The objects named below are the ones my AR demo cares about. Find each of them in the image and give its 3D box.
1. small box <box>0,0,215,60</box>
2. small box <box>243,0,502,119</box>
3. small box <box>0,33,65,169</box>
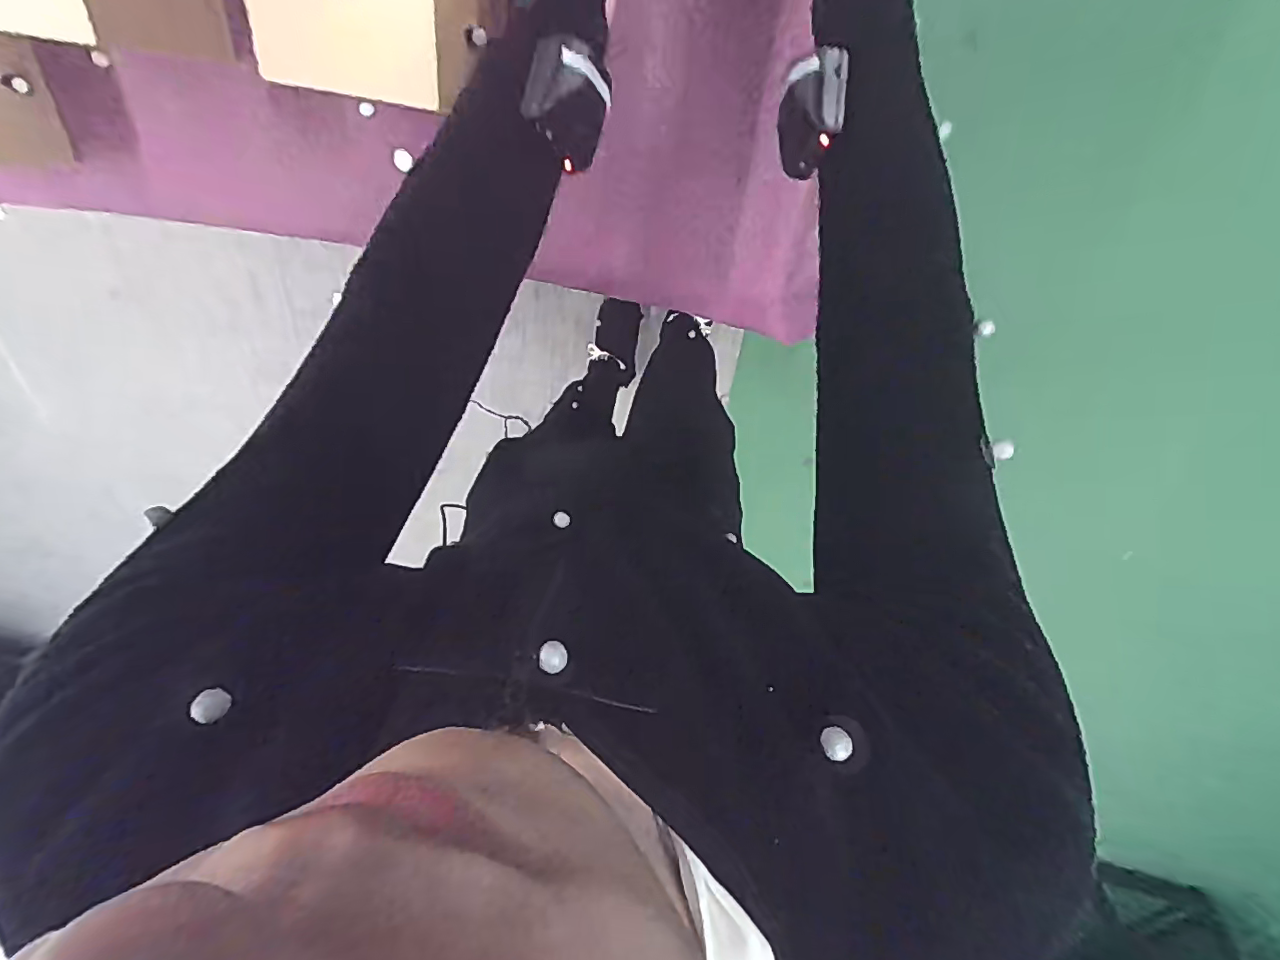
[{"bbox_3d":[-0.557,-0.522,0.518,0.179,0.176,0.168,12,124,3],"label":"small box"},{"bbox_3d":[-0.235,-0.451,0.504,0.179,0.176,0.168,13,125,4],"label":"small box"},{"bbox_3d":[-0.840,-0.462,0.612,0.168,0.176,0.179,10,123,5],"label":"small box"}]
